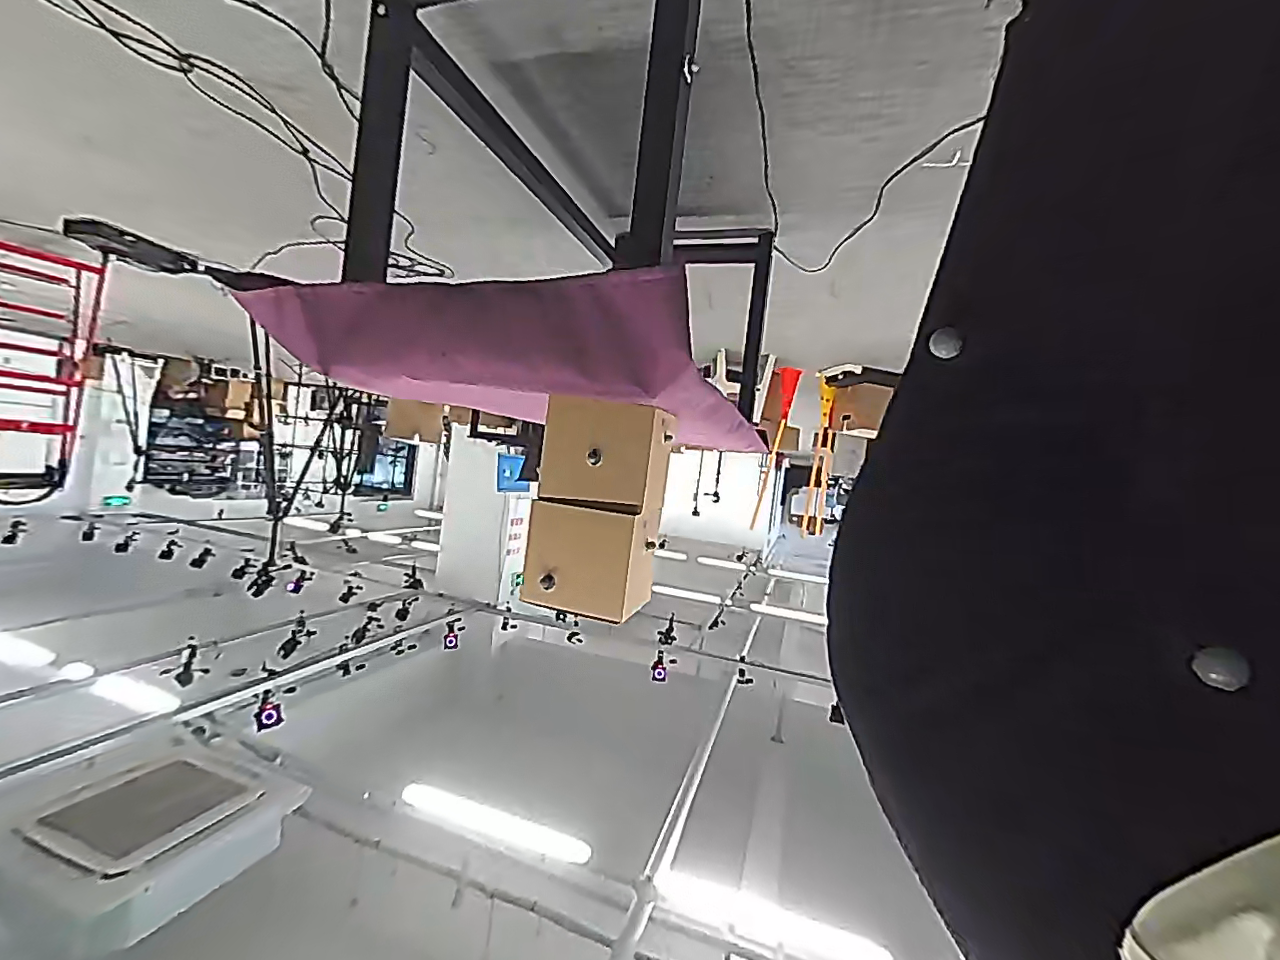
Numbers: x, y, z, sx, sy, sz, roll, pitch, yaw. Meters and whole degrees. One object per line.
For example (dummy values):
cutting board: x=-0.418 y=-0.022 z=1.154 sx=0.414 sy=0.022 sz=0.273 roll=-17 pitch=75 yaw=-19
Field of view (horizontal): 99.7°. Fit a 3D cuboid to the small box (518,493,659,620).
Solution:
small box: x=-0.079 y=0.115 z=0.902 sx=0.179 sy=0.176 sz=0.168 roll=8 pitch=-177 yaw=16
